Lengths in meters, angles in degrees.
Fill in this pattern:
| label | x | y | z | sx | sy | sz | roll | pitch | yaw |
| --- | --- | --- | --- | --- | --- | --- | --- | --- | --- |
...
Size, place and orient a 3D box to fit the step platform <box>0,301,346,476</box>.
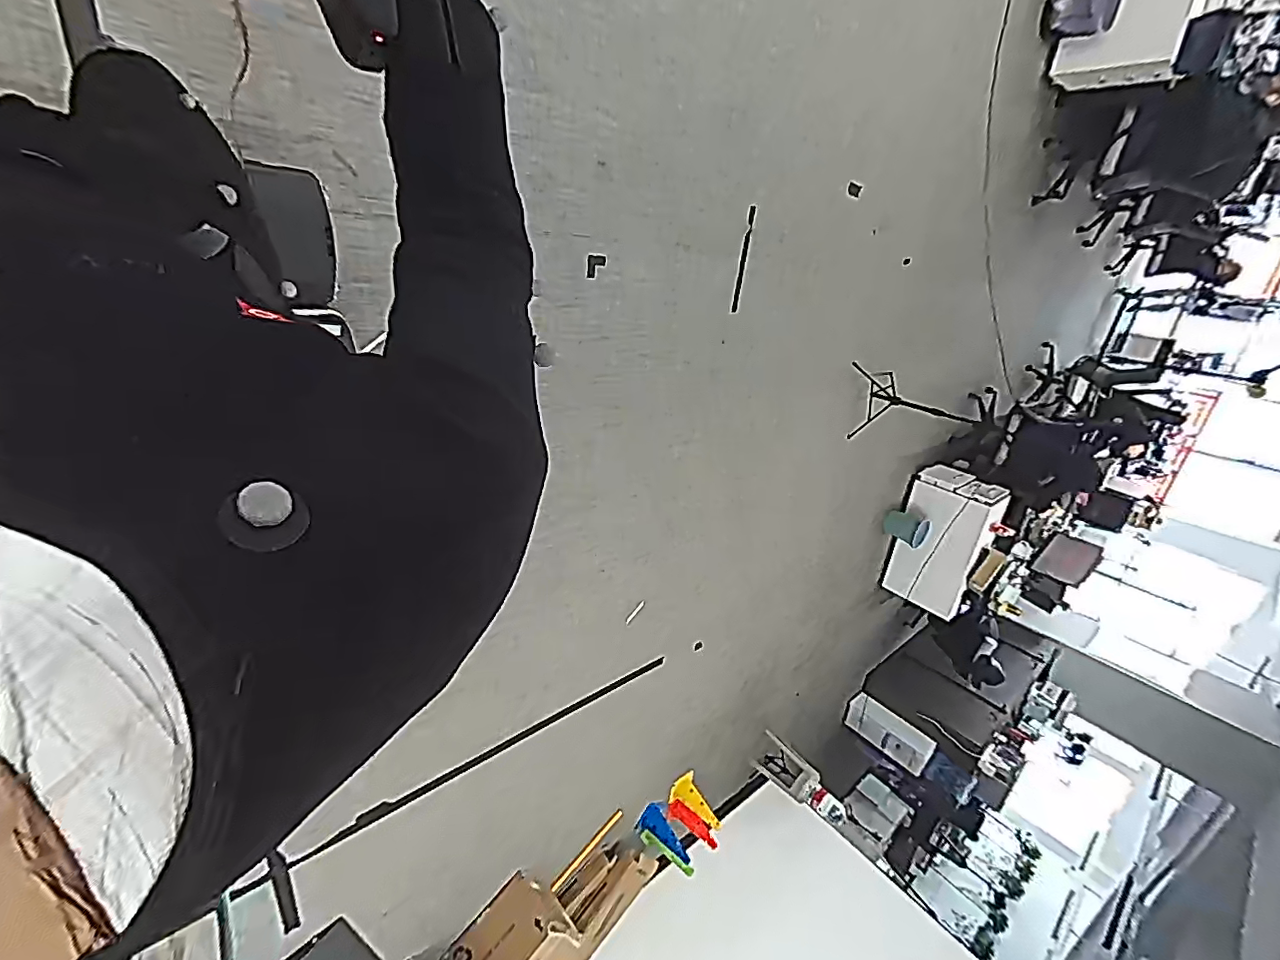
| label | x | y | z | sx | sy | sz | roll | pitch | yaw |
| --- | --- | --- | --- | --- | --- | --- | --- | --- | --- |
| step platform | -0.984 | -0.204 | 1.096 | 0.684 | 0.204 | 0.286 | -14 | 120 | -36 |
